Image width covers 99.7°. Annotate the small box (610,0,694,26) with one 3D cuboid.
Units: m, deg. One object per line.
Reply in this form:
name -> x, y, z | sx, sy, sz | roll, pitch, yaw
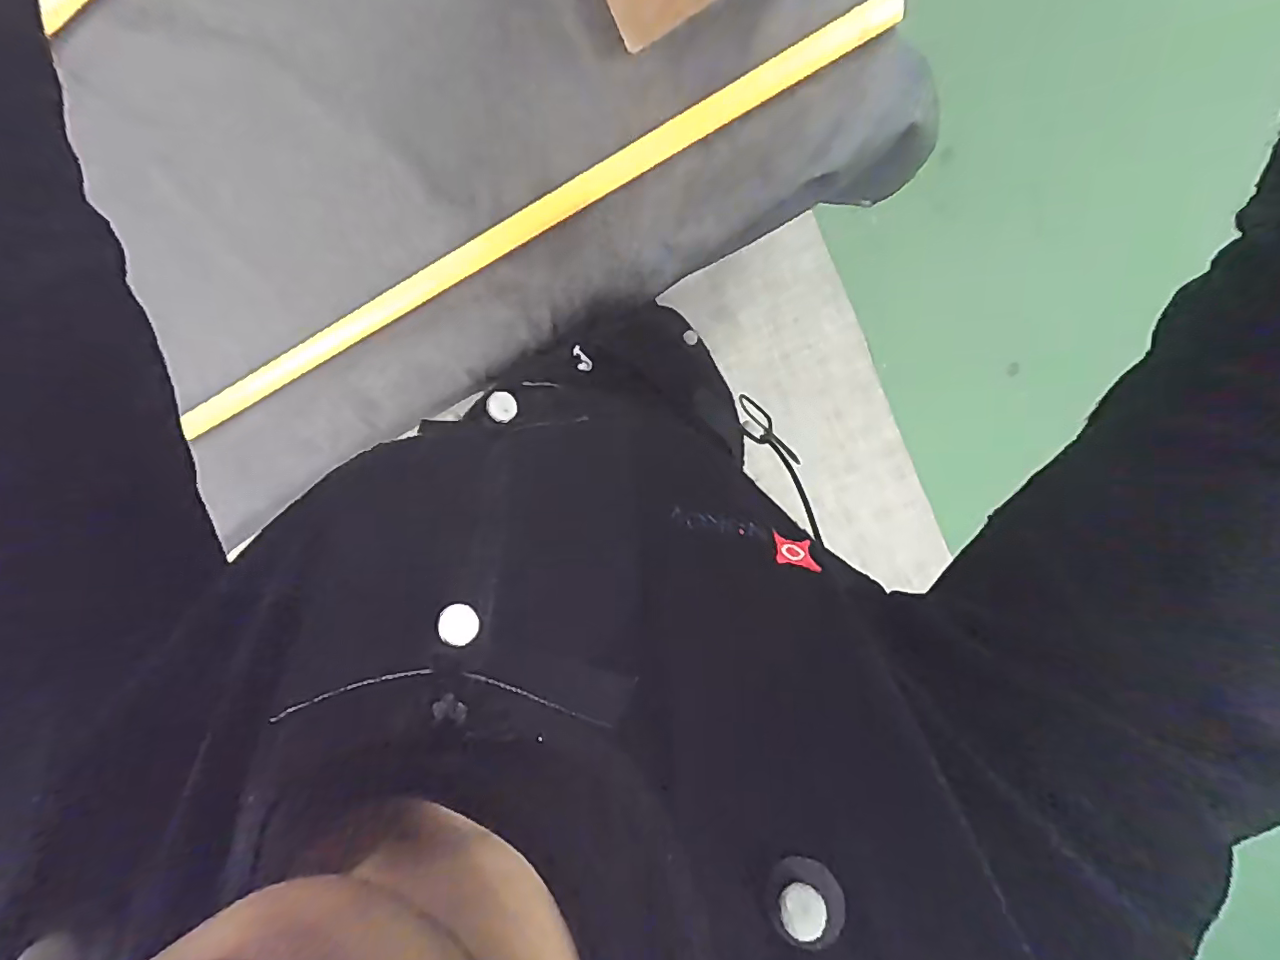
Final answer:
small box -> 0.020, -0.457, 0.363 | 0.168, 0.176, 0.179 | -25, 106, 13
